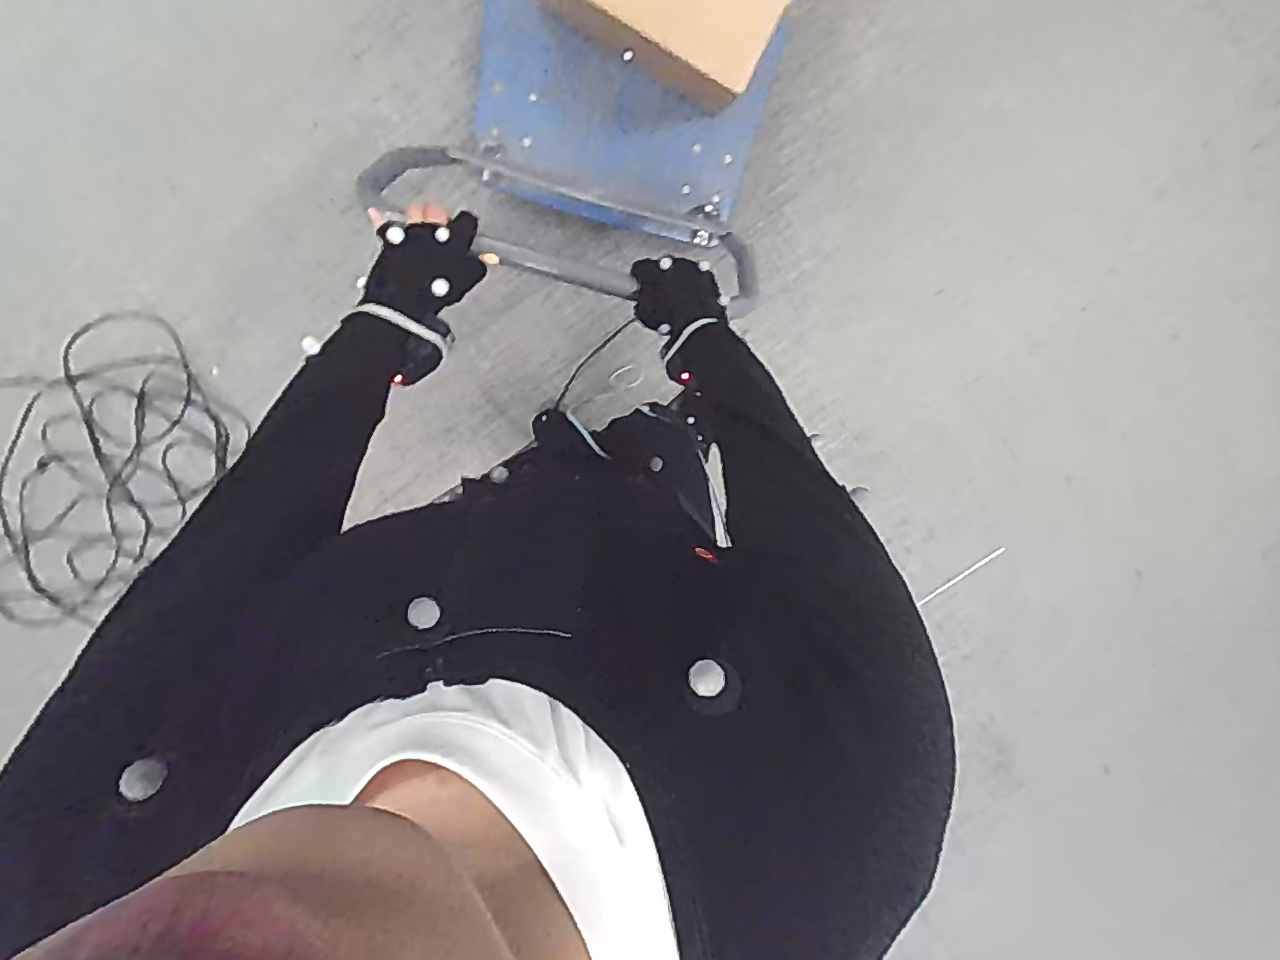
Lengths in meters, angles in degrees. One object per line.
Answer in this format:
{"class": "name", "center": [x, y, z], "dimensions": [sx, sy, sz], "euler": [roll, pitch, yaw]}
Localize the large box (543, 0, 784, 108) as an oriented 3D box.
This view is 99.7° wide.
{"class": "large box", "center": [0.052, -0.883, 0.882], "dimensions": [0.408, 0.320, 0.320], "euler": [25, 116, -12]}
